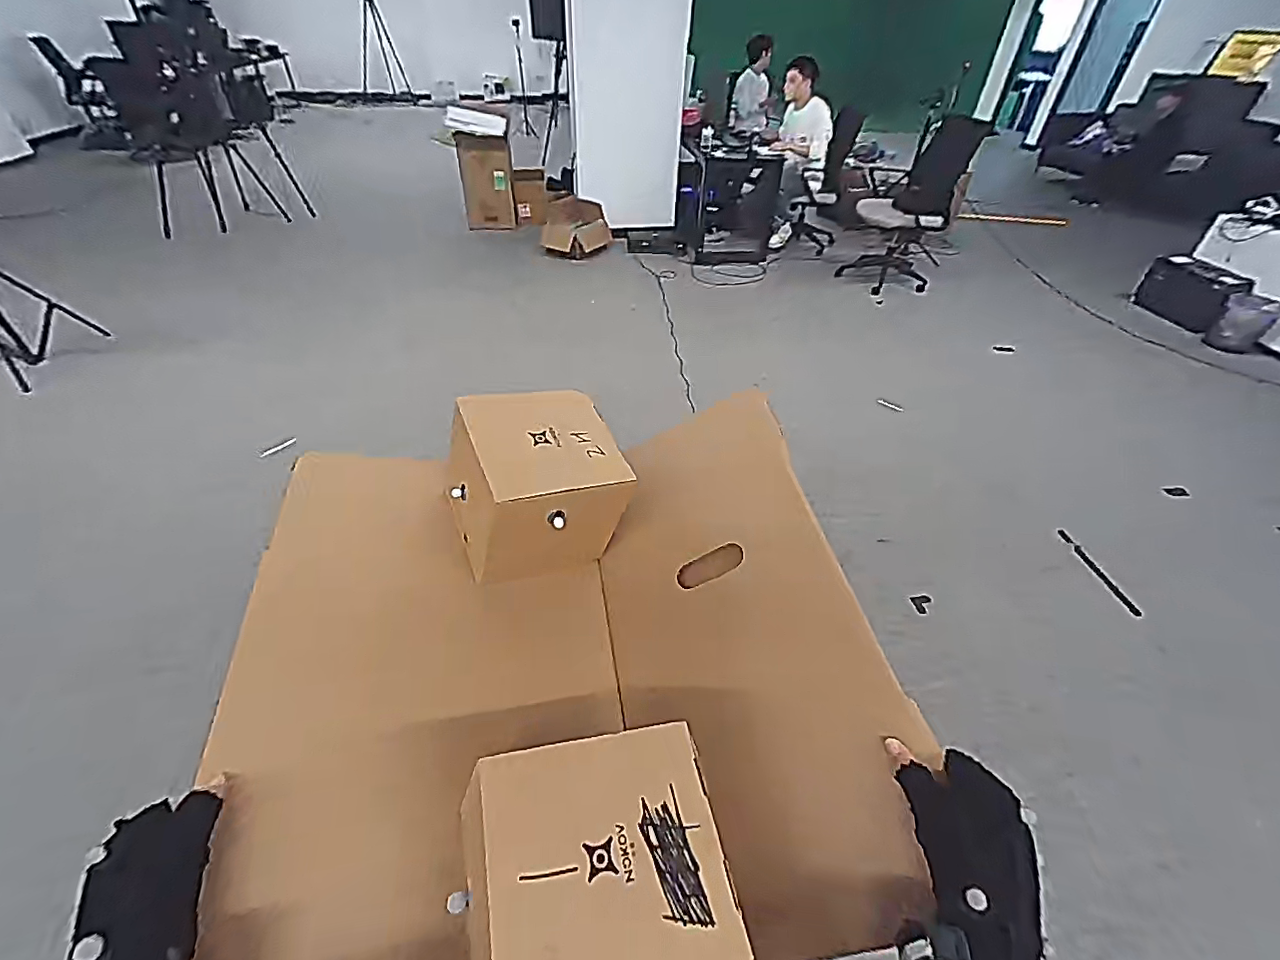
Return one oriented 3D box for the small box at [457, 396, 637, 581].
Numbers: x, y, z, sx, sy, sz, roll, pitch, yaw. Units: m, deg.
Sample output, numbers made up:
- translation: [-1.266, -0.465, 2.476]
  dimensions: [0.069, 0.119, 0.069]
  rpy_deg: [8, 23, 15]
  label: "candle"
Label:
- translation: [-0.132, 0.011, 0.702]
  dimensions: [0.179, 0.176, 0.168]
  rpy_deg: [-8, 53, -31]
  label: "small box"
